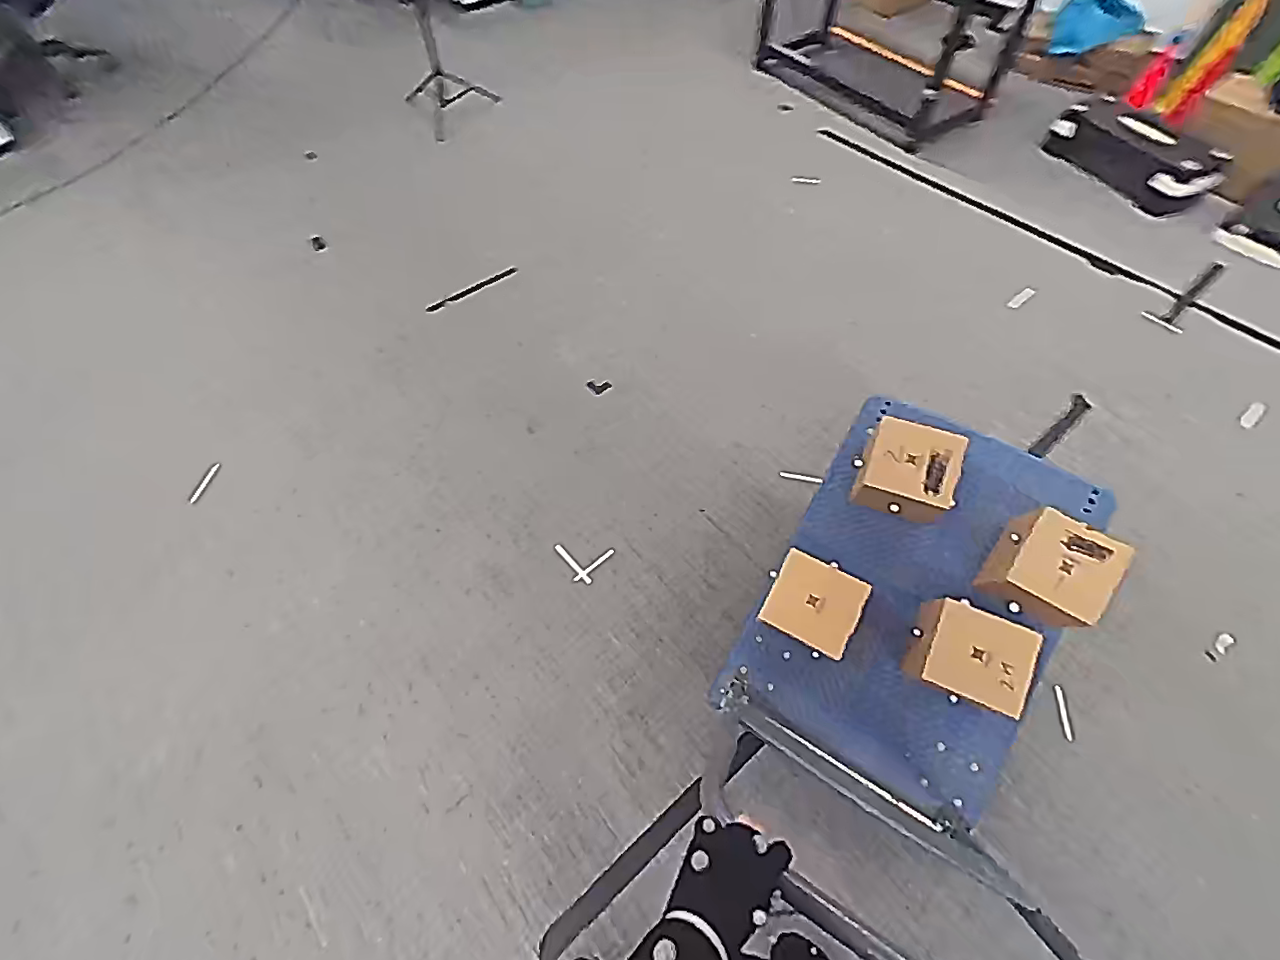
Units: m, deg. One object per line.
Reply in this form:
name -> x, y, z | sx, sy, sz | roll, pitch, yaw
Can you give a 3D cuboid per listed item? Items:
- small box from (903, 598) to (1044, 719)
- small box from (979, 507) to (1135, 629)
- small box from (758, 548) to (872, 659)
small box -> 0.657, 0.355, 1.089 | 0.179, 0.176, 0.168 | 22, 80, 17
small box -> 0.834, 0.184, 1.103 | 0.168, 0.176, 0.179 | 32, 83, 18
small box -> 0.367, 0.270, 1.171 | 0.179, 0.176, 0.168 | 26, 80, 15
